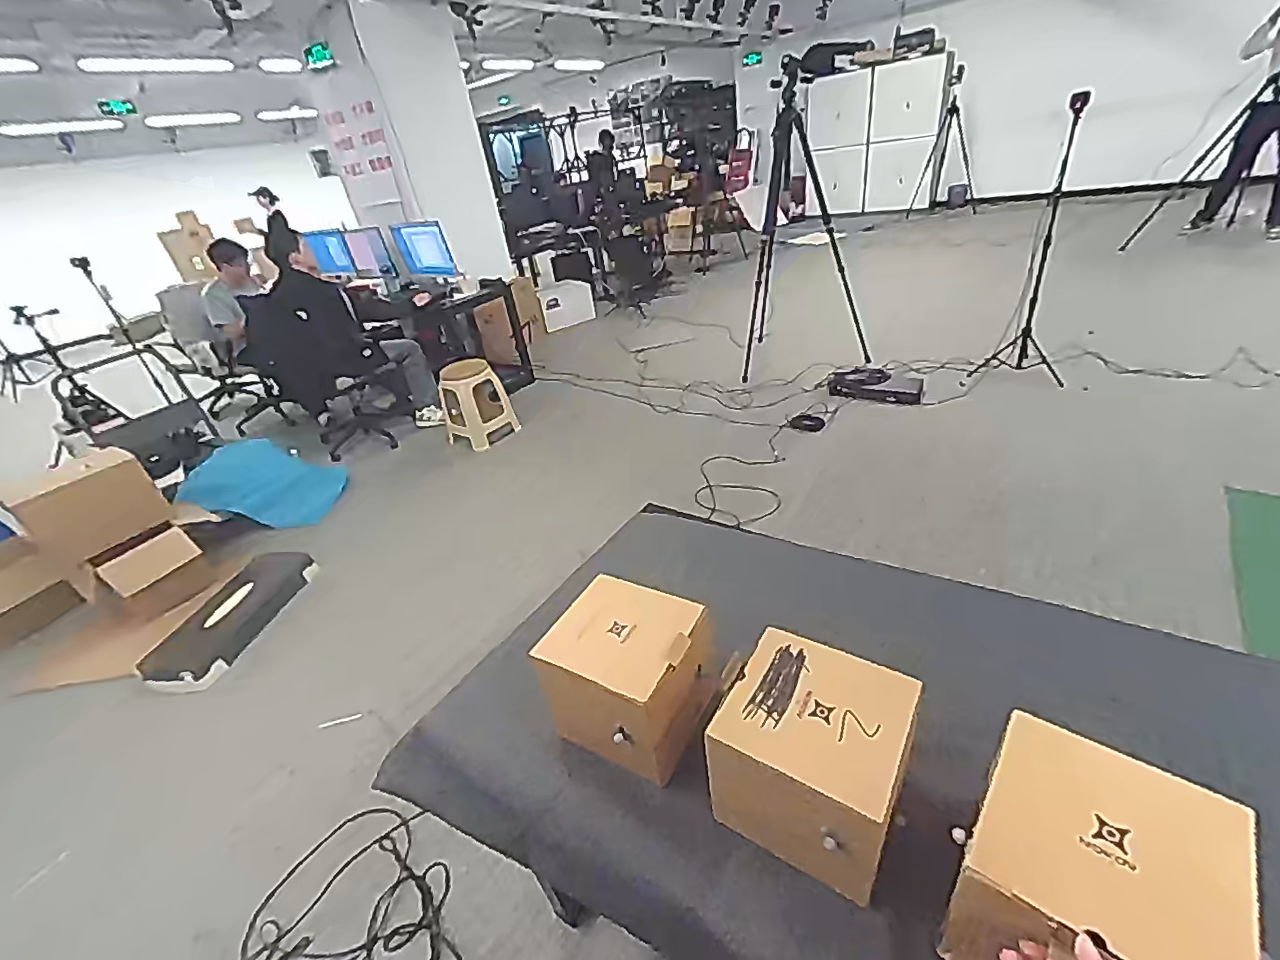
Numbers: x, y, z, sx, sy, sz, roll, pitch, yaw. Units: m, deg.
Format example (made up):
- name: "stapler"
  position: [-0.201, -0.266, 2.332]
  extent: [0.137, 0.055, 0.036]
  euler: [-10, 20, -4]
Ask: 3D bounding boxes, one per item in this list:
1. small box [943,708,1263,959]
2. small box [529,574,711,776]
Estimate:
- name: "small box"
  position: [0.384, 0.350, 0.470]
  extent: [0.168, 0.176, 0.179]
  euler: [18, 41, 37]
- name: "small box"
  position: [-0.015, 0.259, 0.729]
  extent: [0.179, 0.176, 0.168]
  euler: [10, 35, 30]
